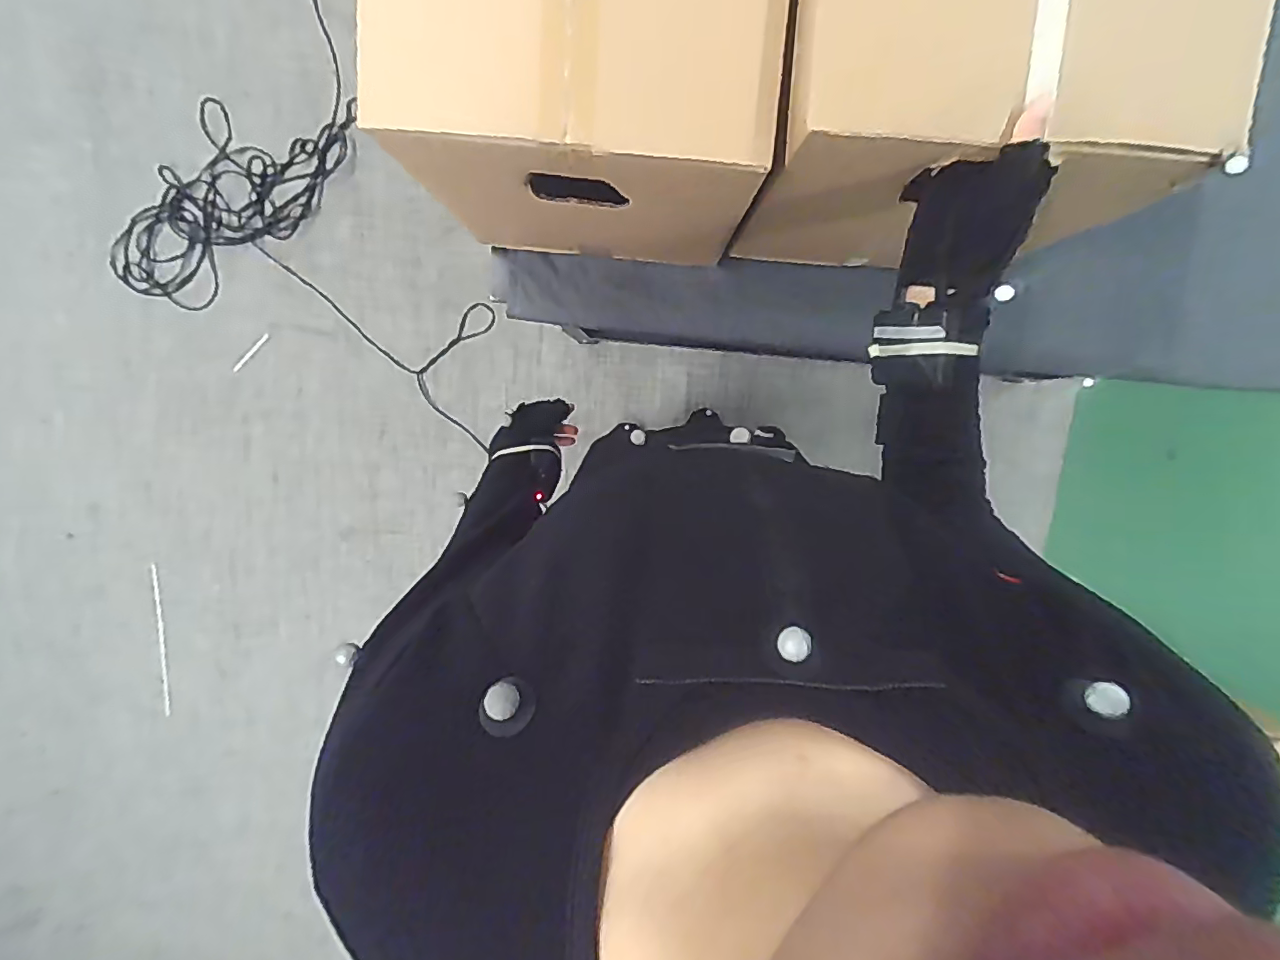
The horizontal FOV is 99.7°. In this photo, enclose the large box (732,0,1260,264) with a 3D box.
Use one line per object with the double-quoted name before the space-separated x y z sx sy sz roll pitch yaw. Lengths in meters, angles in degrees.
"large box" 0.274 -0.452 0.499 0.320 0.320 0.408 3 98 0
